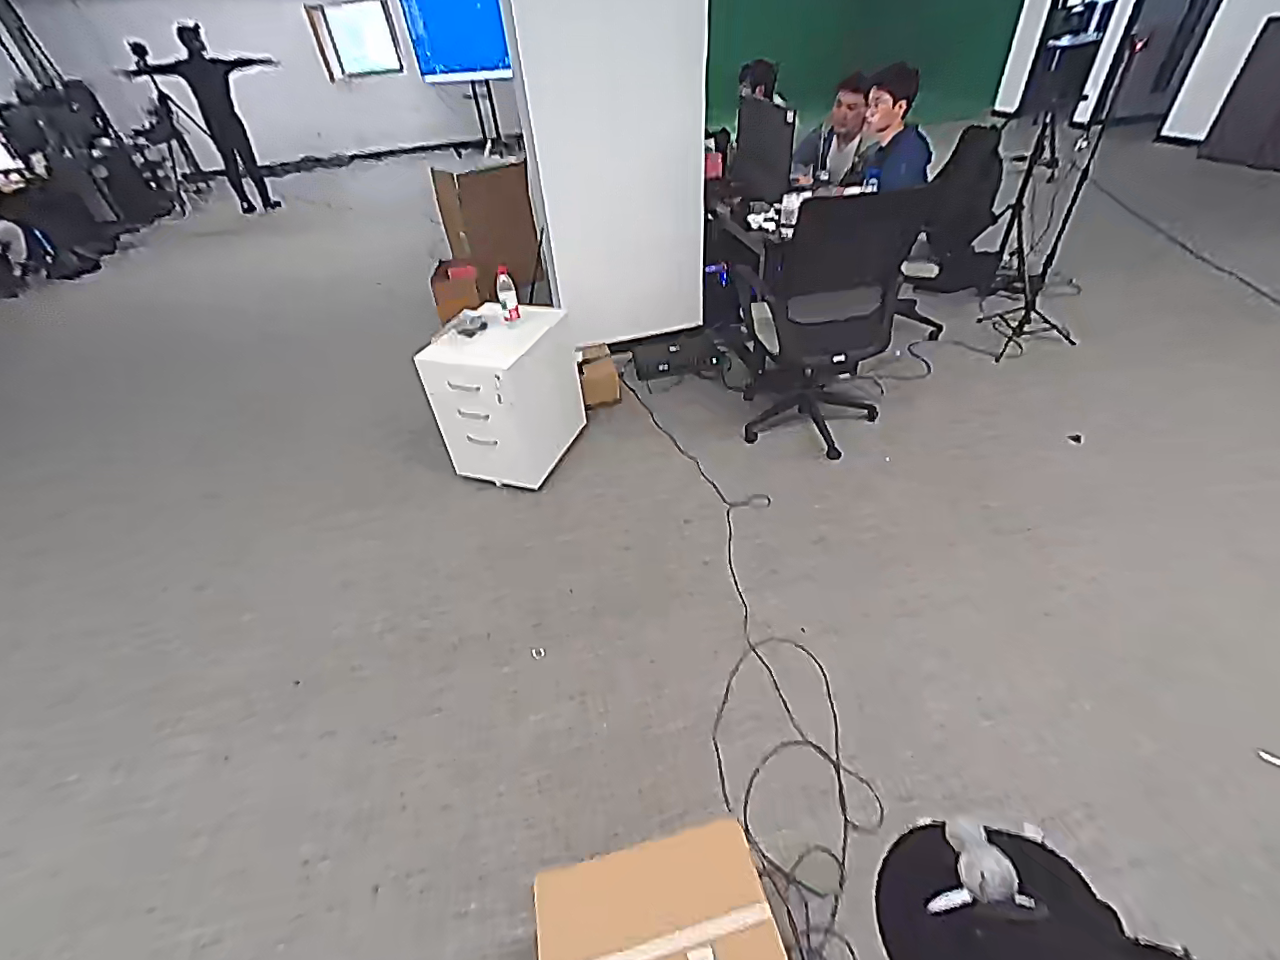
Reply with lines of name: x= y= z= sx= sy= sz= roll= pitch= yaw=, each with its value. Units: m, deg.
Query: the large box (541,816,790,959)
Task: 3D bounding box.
large box: x=0.052 y=0.911 z=1.016 sx=0.408 sy=0.320 sz=0.320 roll=-12 pitch=40 yaw=-7
